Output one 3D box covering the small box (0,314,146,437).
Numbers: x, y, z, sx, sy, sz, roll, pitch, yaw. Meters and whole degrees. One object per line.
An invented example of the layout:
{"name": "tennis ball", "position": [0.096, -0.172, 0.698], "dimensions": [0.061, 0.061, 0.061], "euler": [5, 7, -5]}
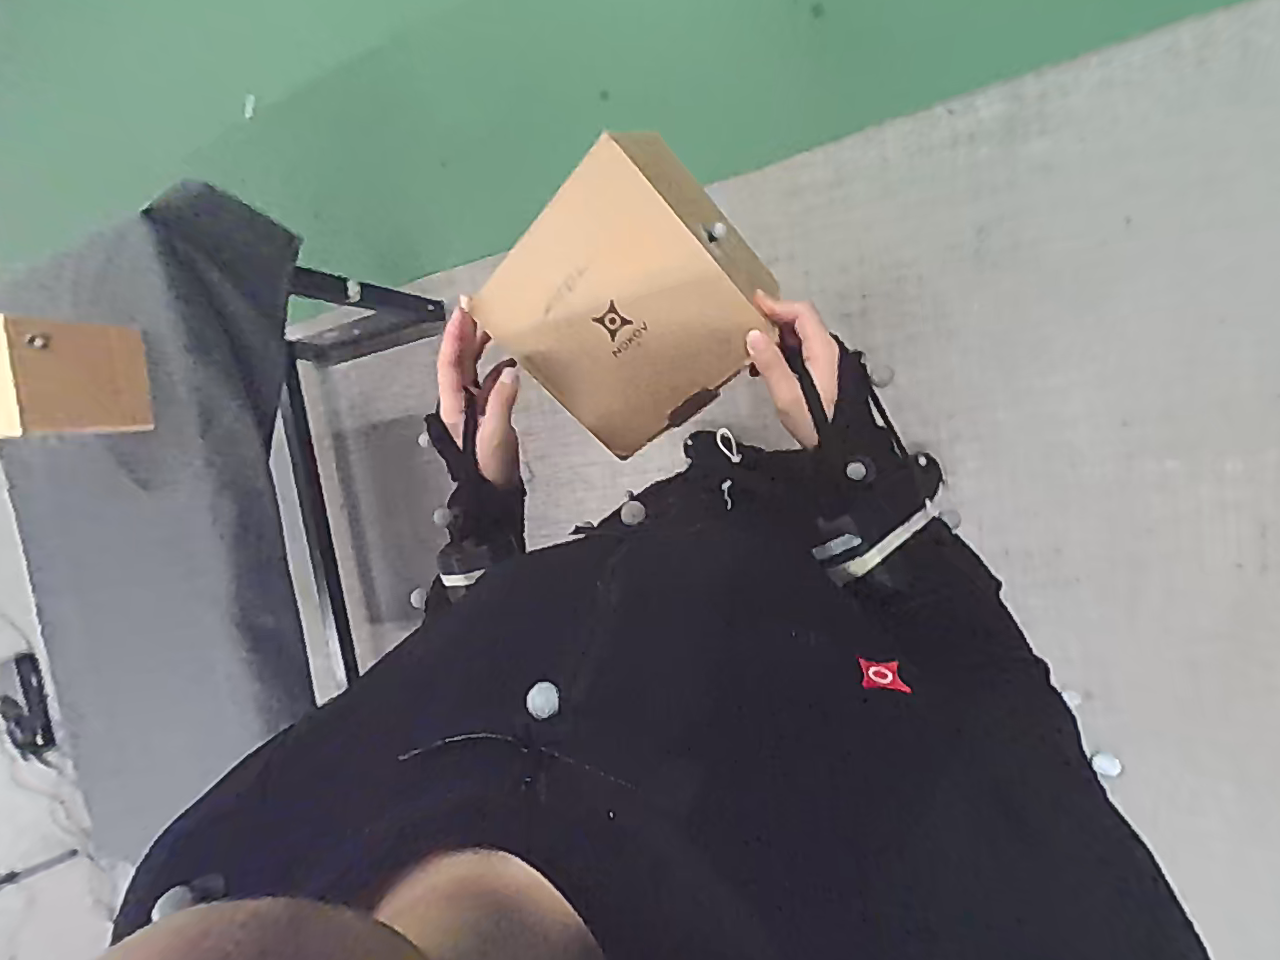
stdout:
{"name": "small box", "position": [-0.946, -0.162, 0.871], "dimensions": [0.168, 0.176, 0.179], "euler": [-1, 97, 21]}
